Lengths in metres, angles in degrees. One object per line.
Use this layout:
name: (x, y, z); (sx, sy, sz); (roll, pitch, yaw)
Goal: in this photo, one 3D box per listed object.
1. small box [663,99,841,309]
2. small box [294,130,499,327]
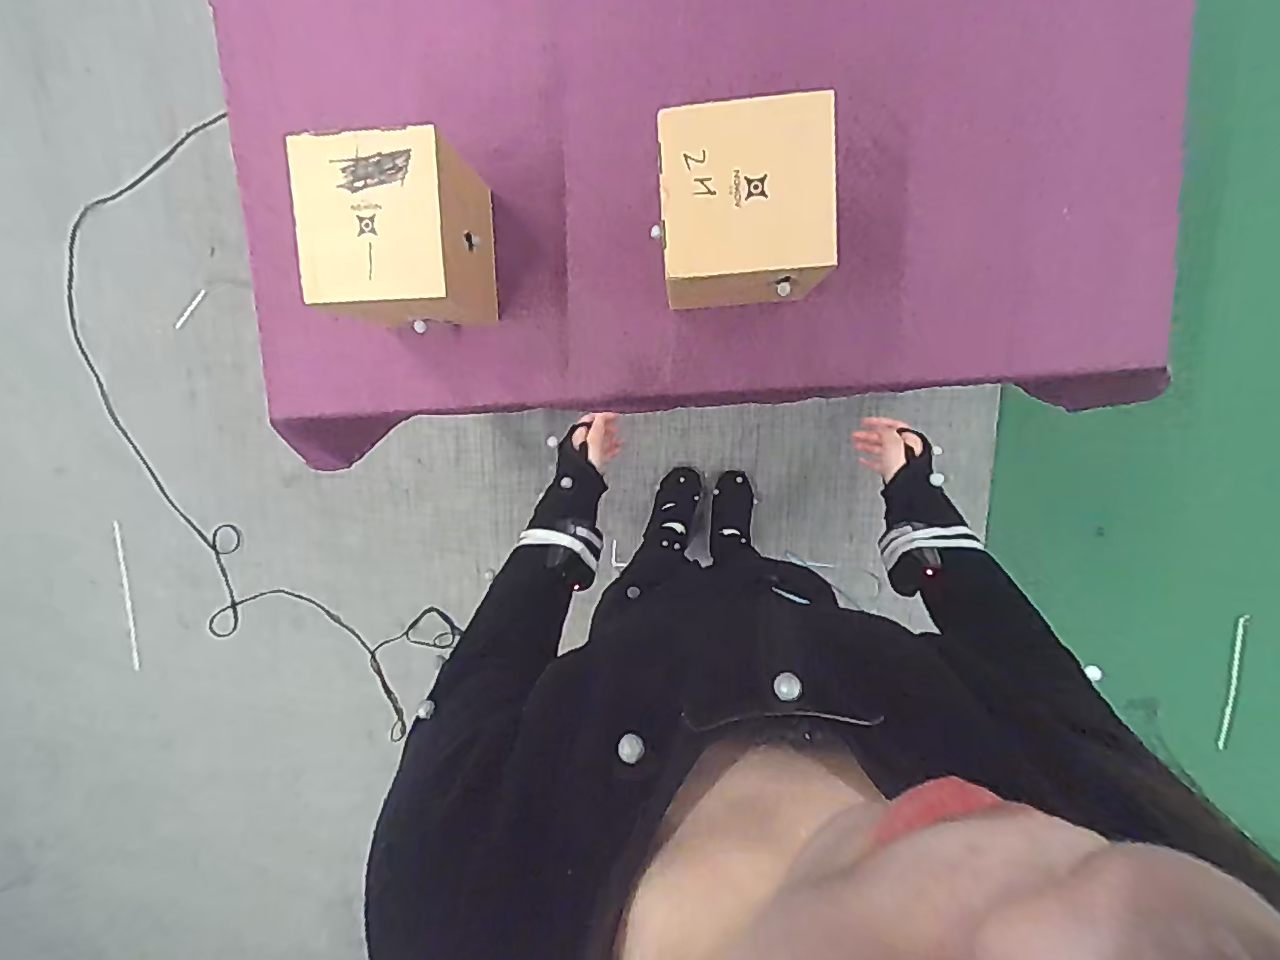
small box: (0.118, -0.298, 0.622); (0.179, 0.176, 0.168); (-2, 97, 5)
small box: (-0.280, -0.290, 0.658); (0.168, 0.176, 0.179); (0, 98, 5)
